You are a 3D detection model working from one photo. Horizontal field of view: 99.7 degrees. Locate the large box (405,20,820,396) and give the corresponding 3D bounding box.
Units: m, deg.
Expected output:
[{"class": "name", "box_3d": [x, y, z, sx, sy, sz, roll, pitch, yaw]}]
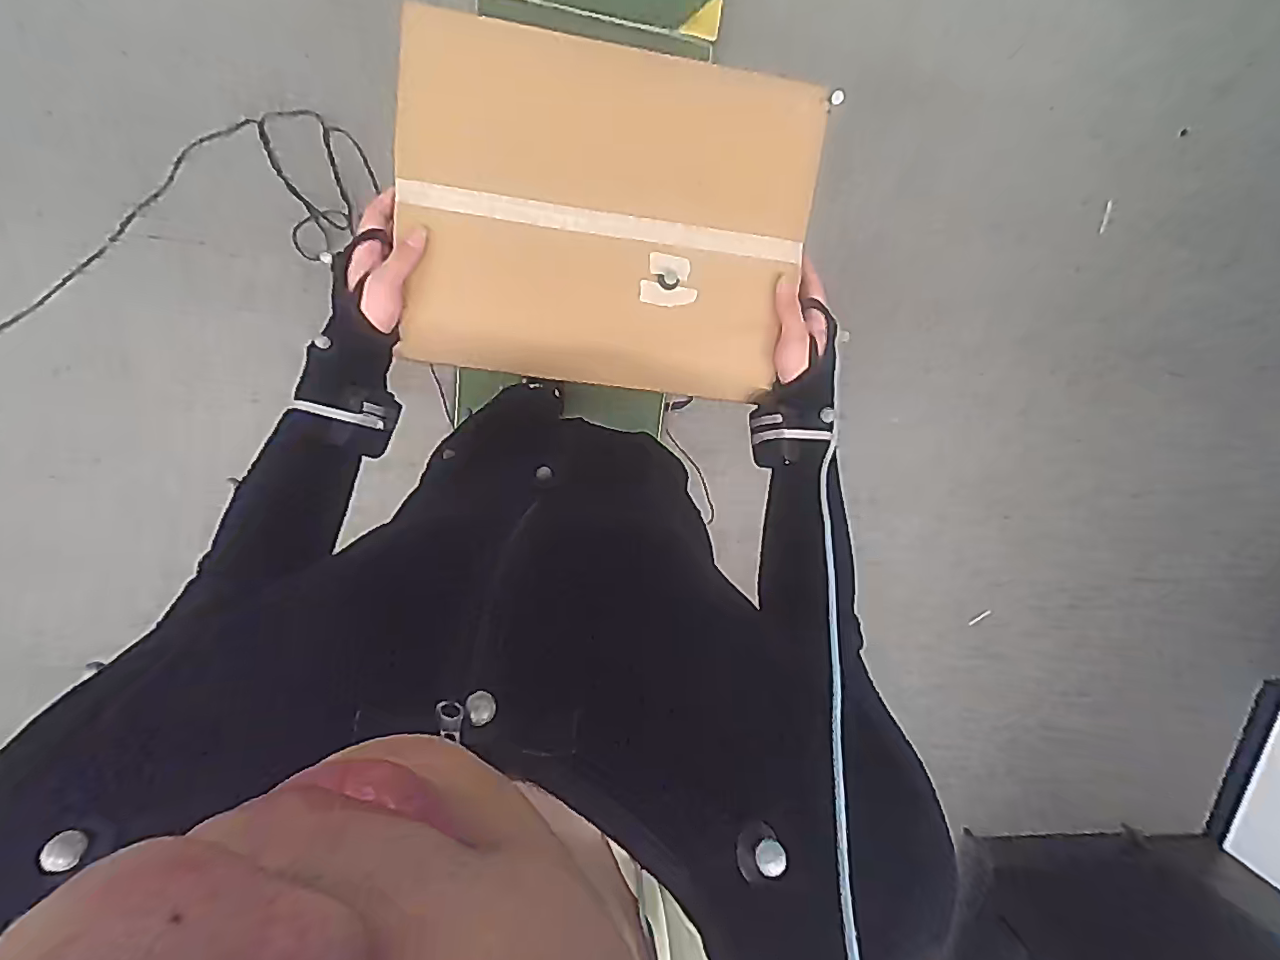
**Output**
[{"class": "large box", "box_3d": [-0.046, -0.287, 0.692, 0.408, 0.320, 0.320, 6, 101, -7]}]
